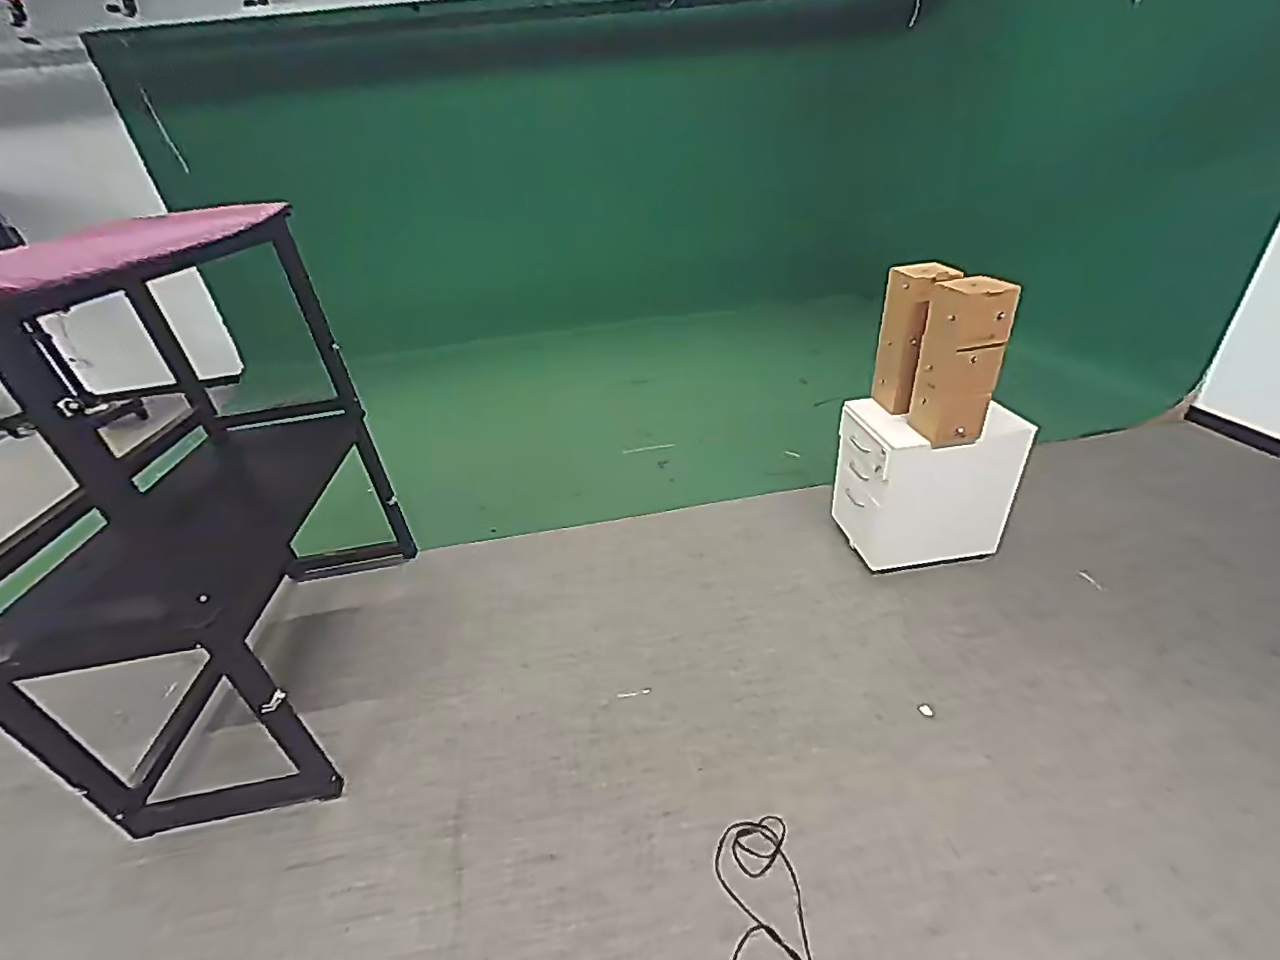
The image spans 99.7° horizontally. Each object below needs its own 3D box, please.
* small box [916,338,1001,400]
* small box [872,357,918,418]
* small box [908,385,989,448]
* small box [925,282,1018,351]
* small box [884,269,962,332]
[{"bbox_3d":[1.034,-0.371,1.773,0.179,0.176,0.168,-9,32,-5],"label":"small box"},{"bbox_3d":[1.006,-0.353,2.061,0.168,0.176,0.179,-8,33,-2],"label":"small box"},{"bbox_3d":[1.047,-0.227,1.853,0.168,0.176,0.179,-8,31,-2],"label":"small box"},{"bbox_3d":[1.022,-0.505,1.681,0.168,0.176,0.179,-8,30,-3],"label":"small box"},{"bbox_3d":[0.977,-0.628,1.887,0.168,0.176,0.179,-7,33,-3],"label":"small box"}]
